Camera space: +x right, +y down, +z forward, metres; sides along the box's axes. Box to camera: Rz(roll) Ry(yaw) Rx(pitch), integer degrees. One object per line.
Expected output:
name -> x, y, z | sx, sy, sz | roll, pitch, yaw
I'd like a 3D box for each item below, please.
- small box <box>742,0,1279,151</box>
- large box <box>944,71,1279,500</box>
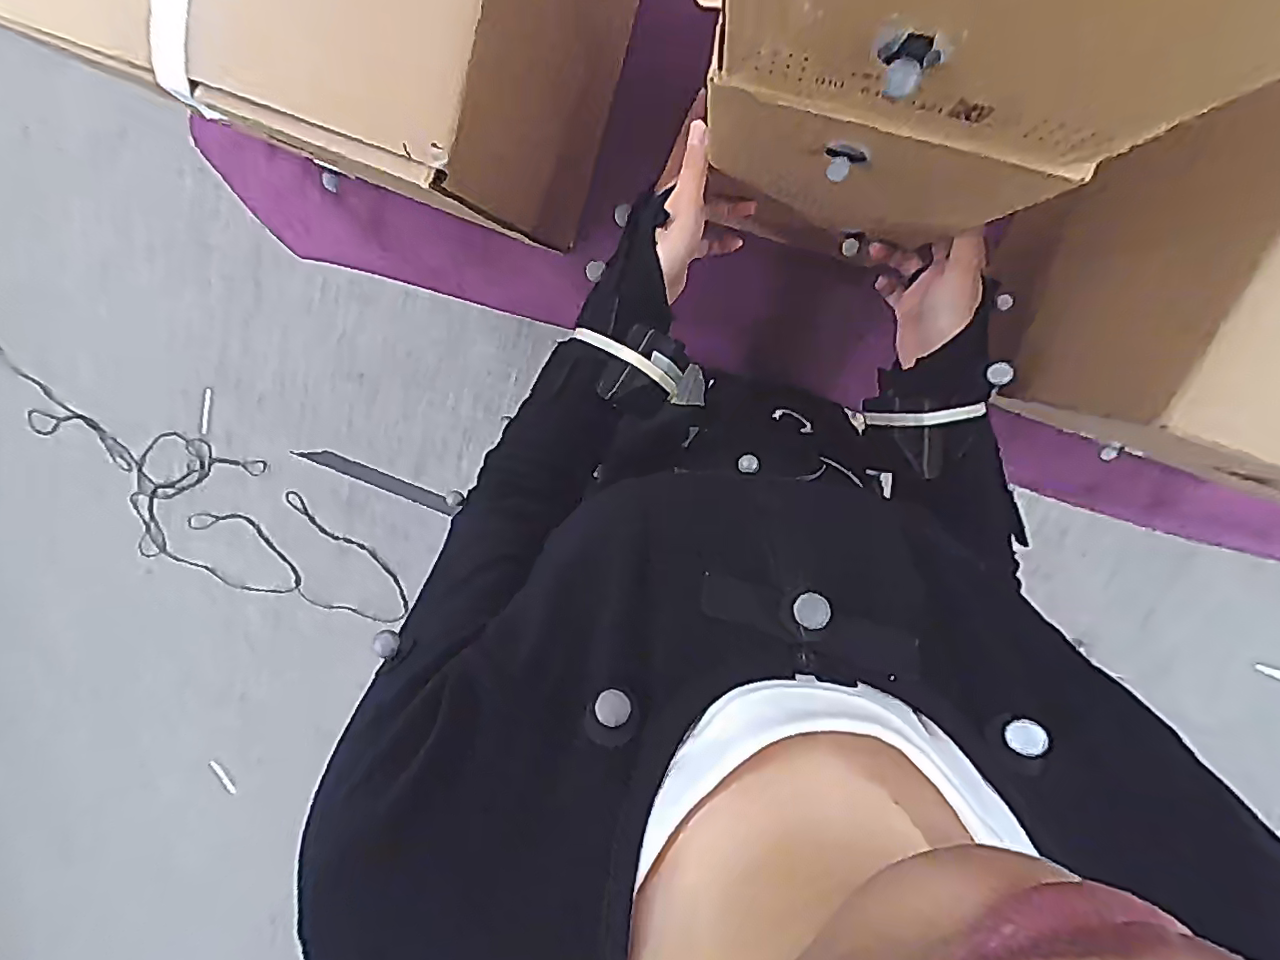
small box -> 0.127, -0.215, 0.129 | 0.168, 0.176, 0.179 | 16, 107, 3
large box -> 0.489, -0.190, 0.357 | 0.320, 0.320, 0.408 | 20, 106, 2
